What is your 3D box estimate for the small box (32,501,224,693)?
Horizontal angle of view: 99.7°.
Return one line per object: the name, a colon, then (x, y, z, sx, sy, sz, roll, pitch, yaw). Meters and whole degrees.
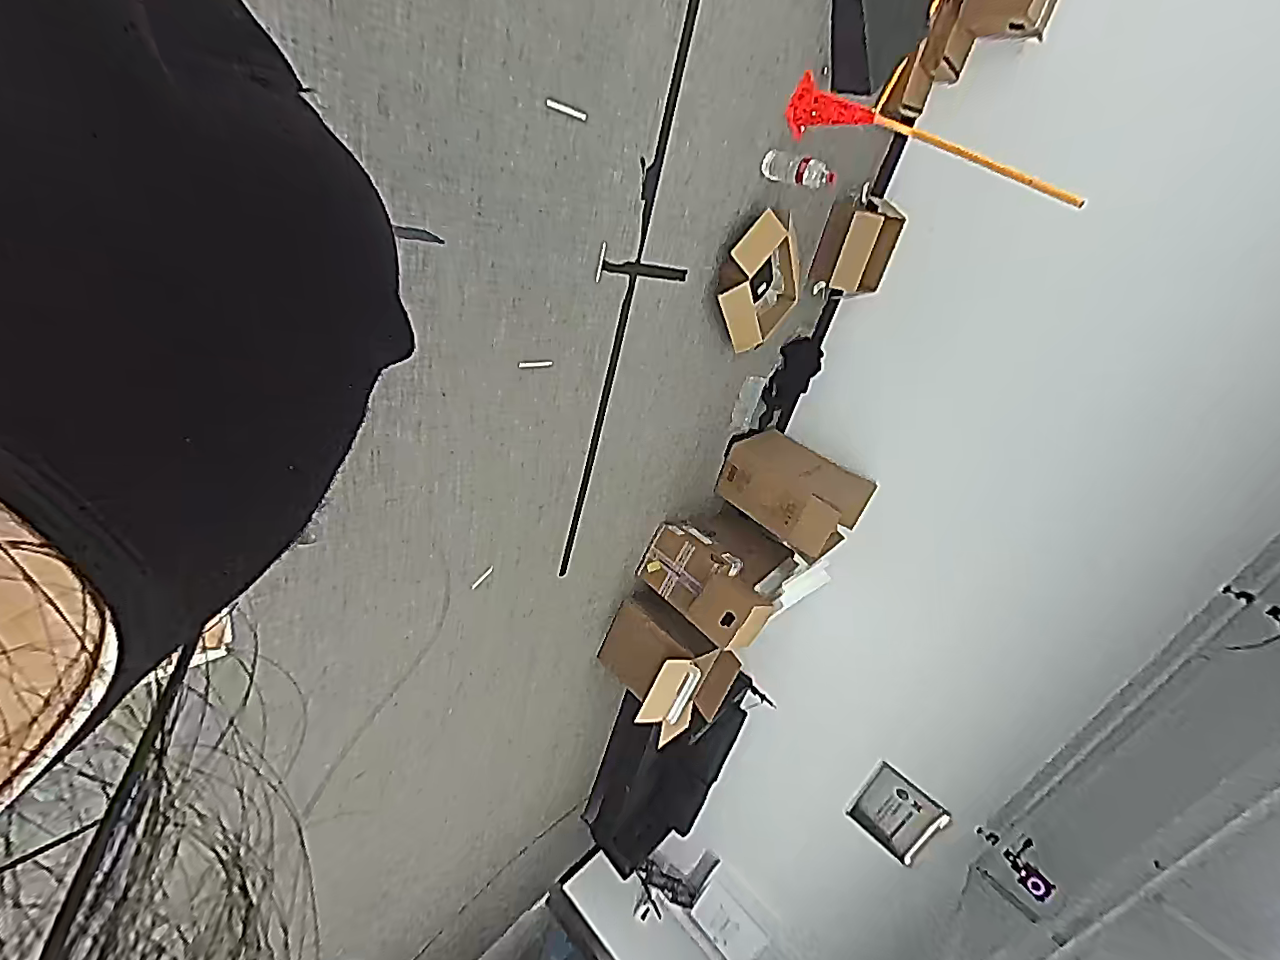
small box: (-0.725, 0.157, 0.775, 0.168, 0.176, 0.179, -17, 134, -46)
